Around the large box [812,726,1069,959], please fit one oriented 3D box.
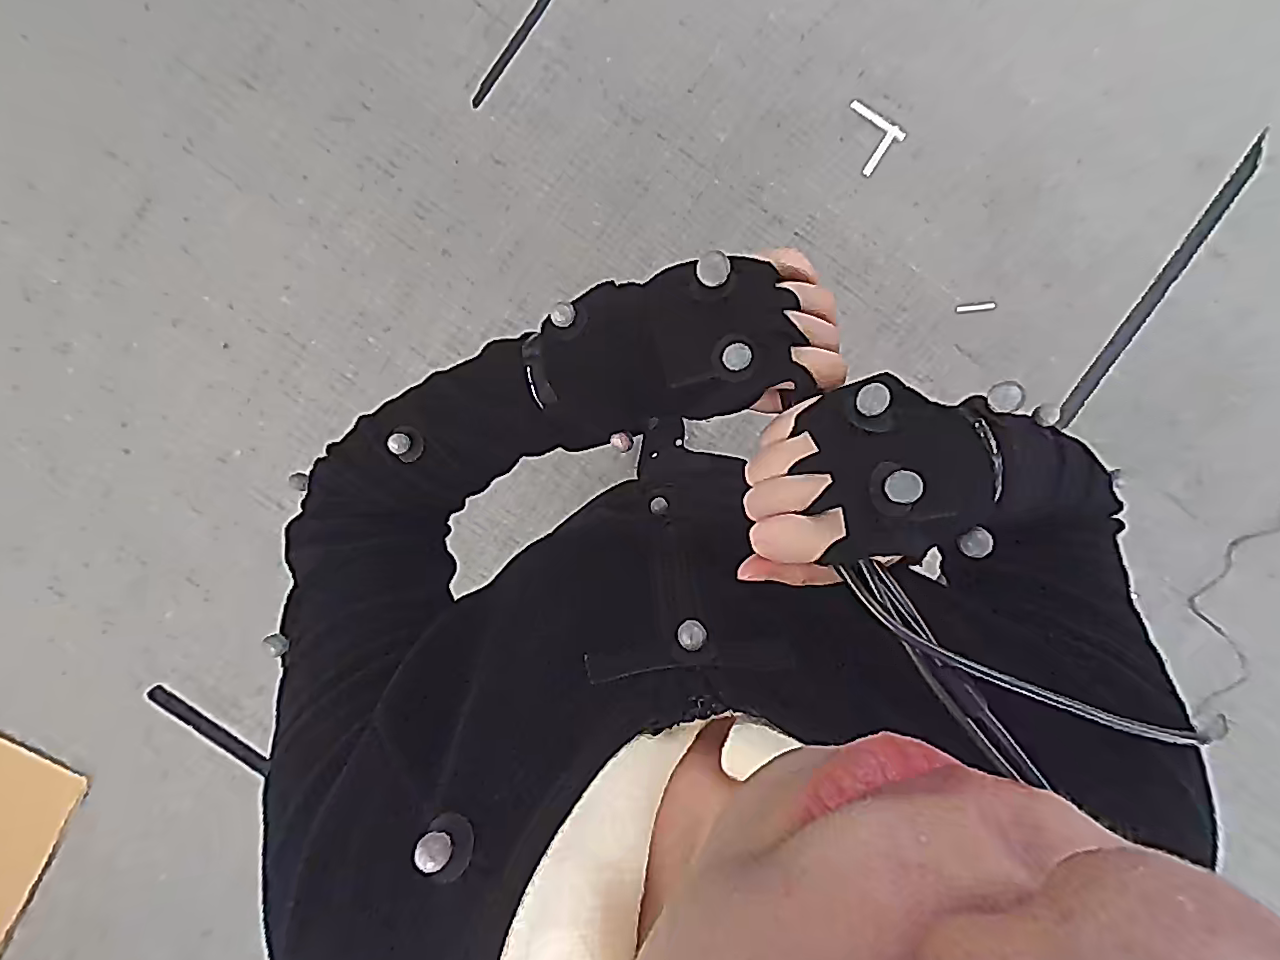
[{"bbox_3d":[0.625,0.832,1.189,0.320,0.320,0.408,17,91,-1],"label":"large box"}]
